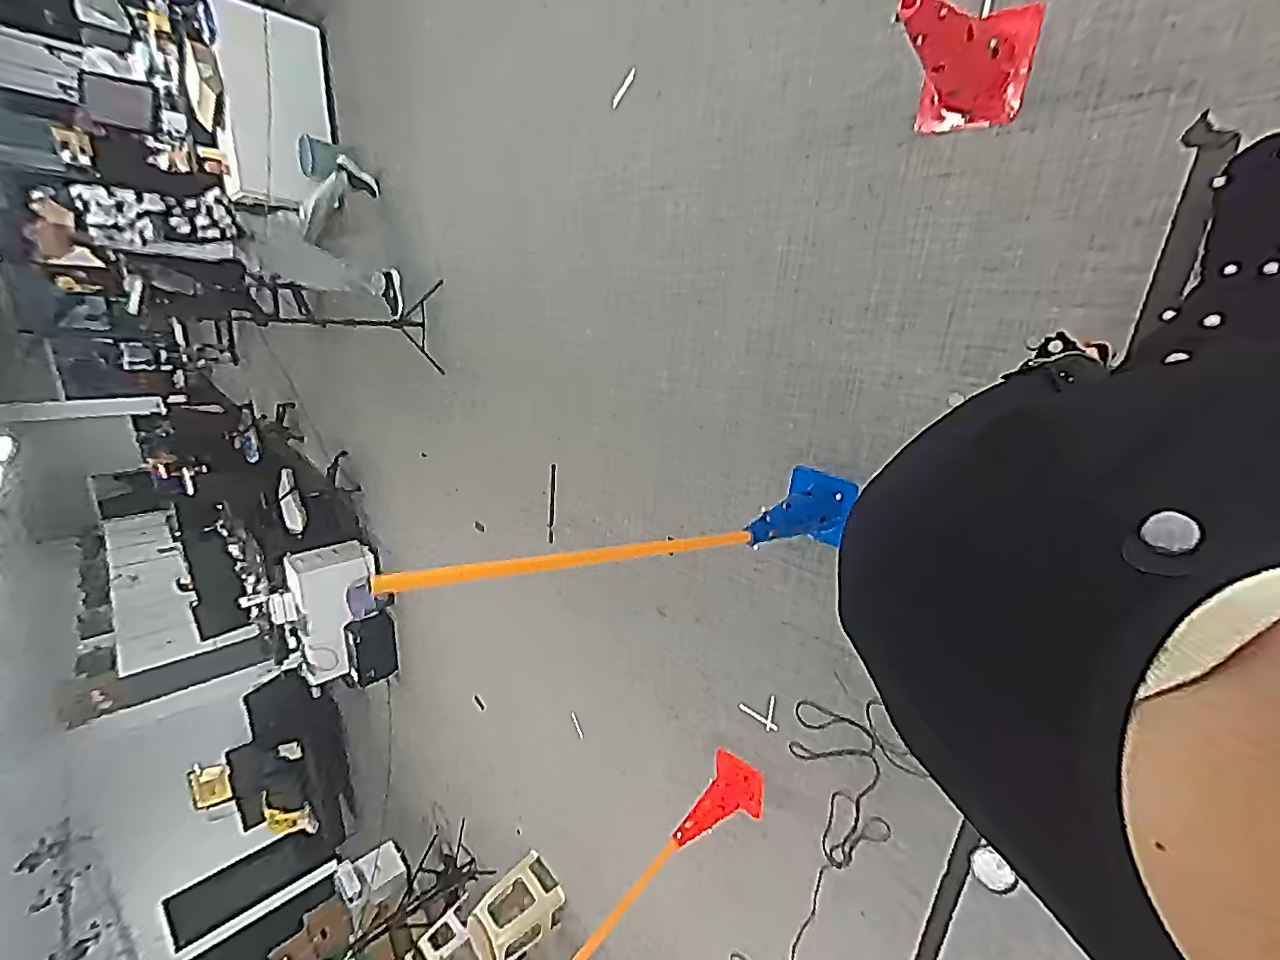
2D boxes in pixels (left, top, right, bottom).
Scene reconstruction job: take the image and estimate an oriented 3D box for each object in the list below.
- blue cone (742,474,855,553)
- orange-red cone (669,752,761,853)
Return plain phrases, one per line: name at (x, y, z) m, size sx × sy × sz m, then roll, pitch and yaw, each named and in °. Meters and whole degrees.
blue cone at (0.393, 0.115, 1.424) m, size 0.193 × 0.380 × 0.192 m, roll 24°, pitch 118°, yaw 41°
orange-red cone at (0.231, 1.135, 1.834) m, size 0.199 × 0.360 × 0.198 m, roll 14°, pitch 110°, yaw 43°
